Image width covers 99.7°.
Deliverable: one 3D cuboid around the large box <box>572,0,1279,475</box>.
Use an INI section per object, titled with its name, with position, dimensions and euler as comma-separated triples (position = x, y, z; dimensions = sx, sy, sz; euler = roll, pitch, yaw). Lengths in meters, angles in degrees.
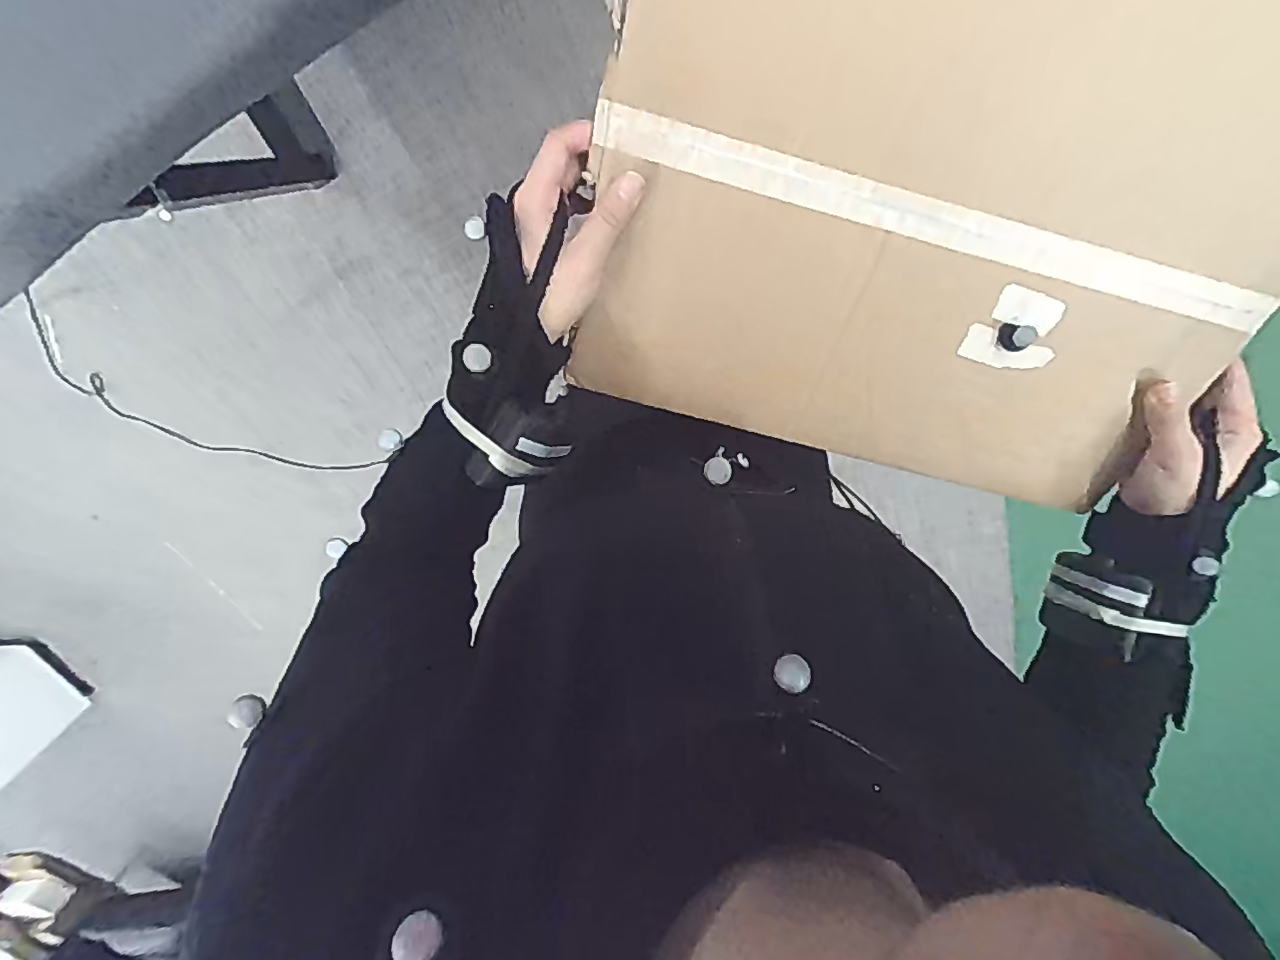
[large box]
position = 0.181, -0.246, 0.425
dimensions = 0.408, 0.320, 0.320
euler = 12, 124, -5
